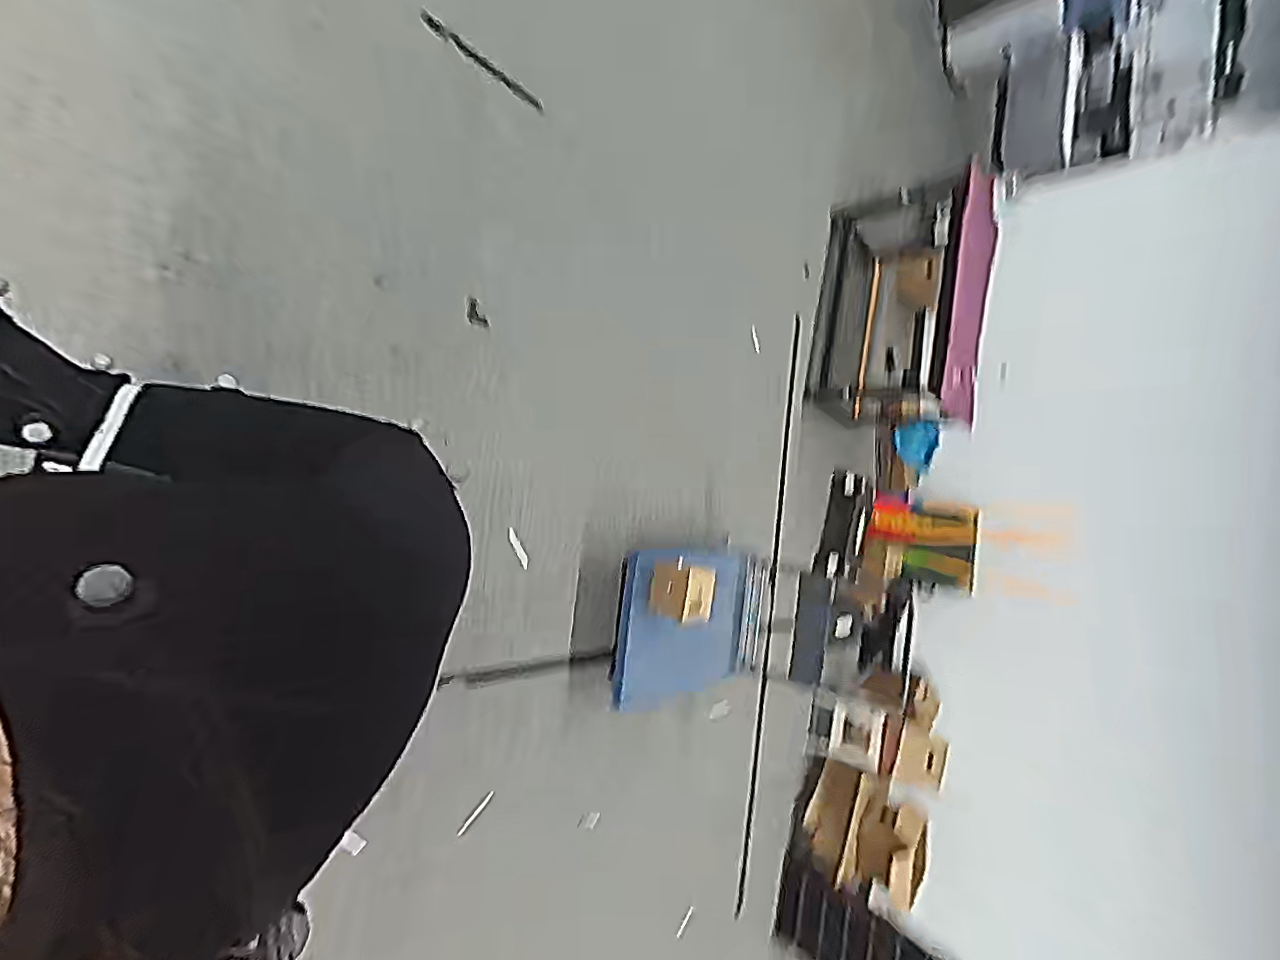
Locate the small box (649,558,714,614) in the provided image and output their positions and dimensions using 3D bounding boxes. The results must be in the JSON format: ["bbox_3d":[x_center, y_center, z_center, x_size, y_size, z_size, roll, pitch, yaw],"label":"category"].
[{"bbox_3d":[0.152,0.394,2.010,0.168,0.176,0.179,14,83,-47],"label":"small box"}]
